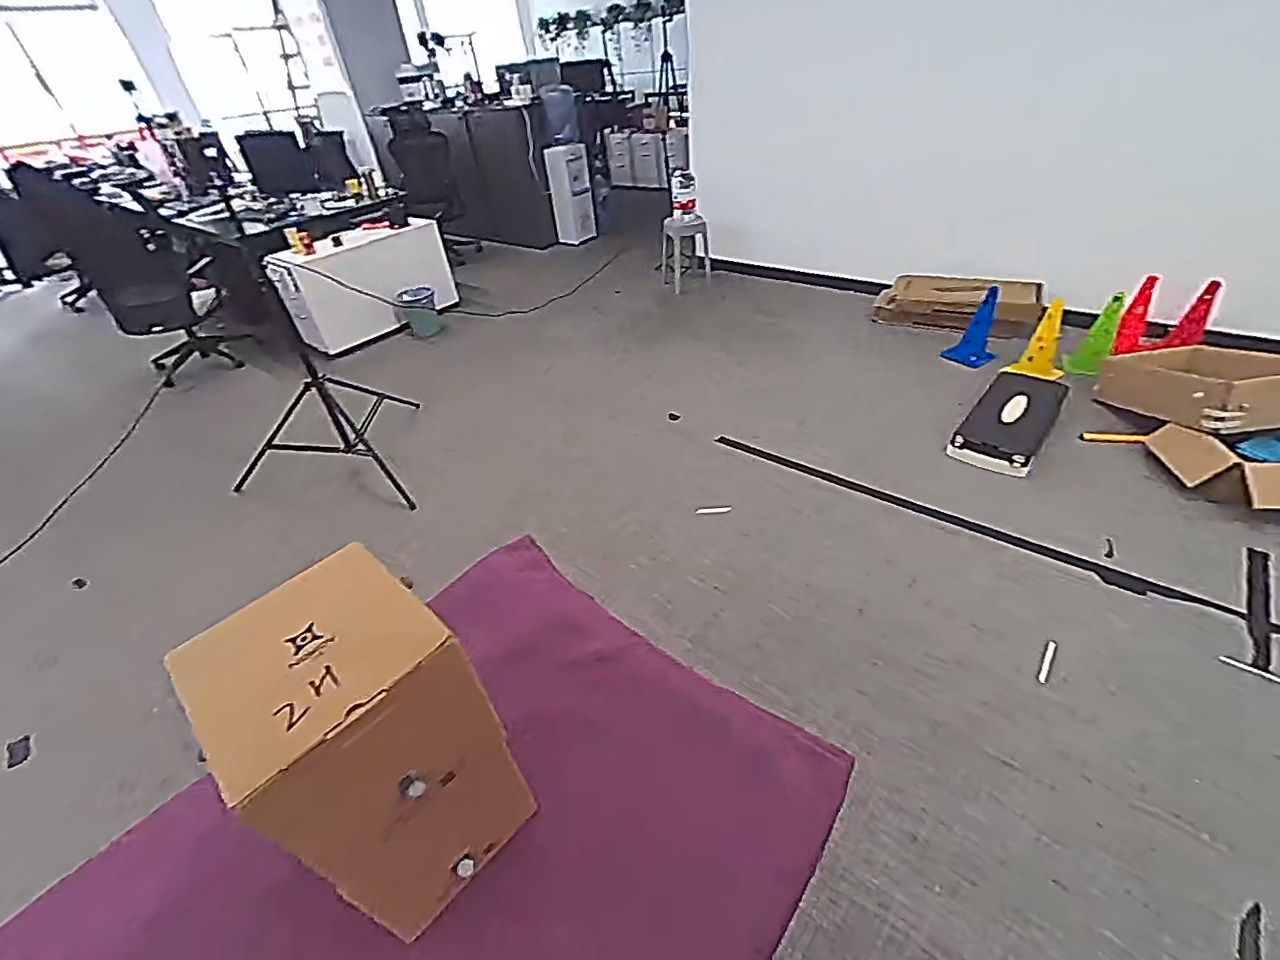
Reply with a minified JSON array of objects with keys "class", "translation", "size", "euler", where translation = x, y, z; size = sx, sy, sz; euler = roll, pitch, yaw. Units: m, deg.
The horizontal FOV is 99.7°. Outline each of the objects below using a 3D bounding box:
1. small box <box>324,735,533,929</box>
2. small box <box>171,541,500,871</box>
[{"class":"small box","translation":[-0.240,0.322,0.576],"size":[0.179,0.176,0.168],"euler":[28,50,35]},{"class":"small box","translation":[-0.252,0.191,0.475],"size":[0.179,0.176,0.168],"euler":[27,50,34]}]
